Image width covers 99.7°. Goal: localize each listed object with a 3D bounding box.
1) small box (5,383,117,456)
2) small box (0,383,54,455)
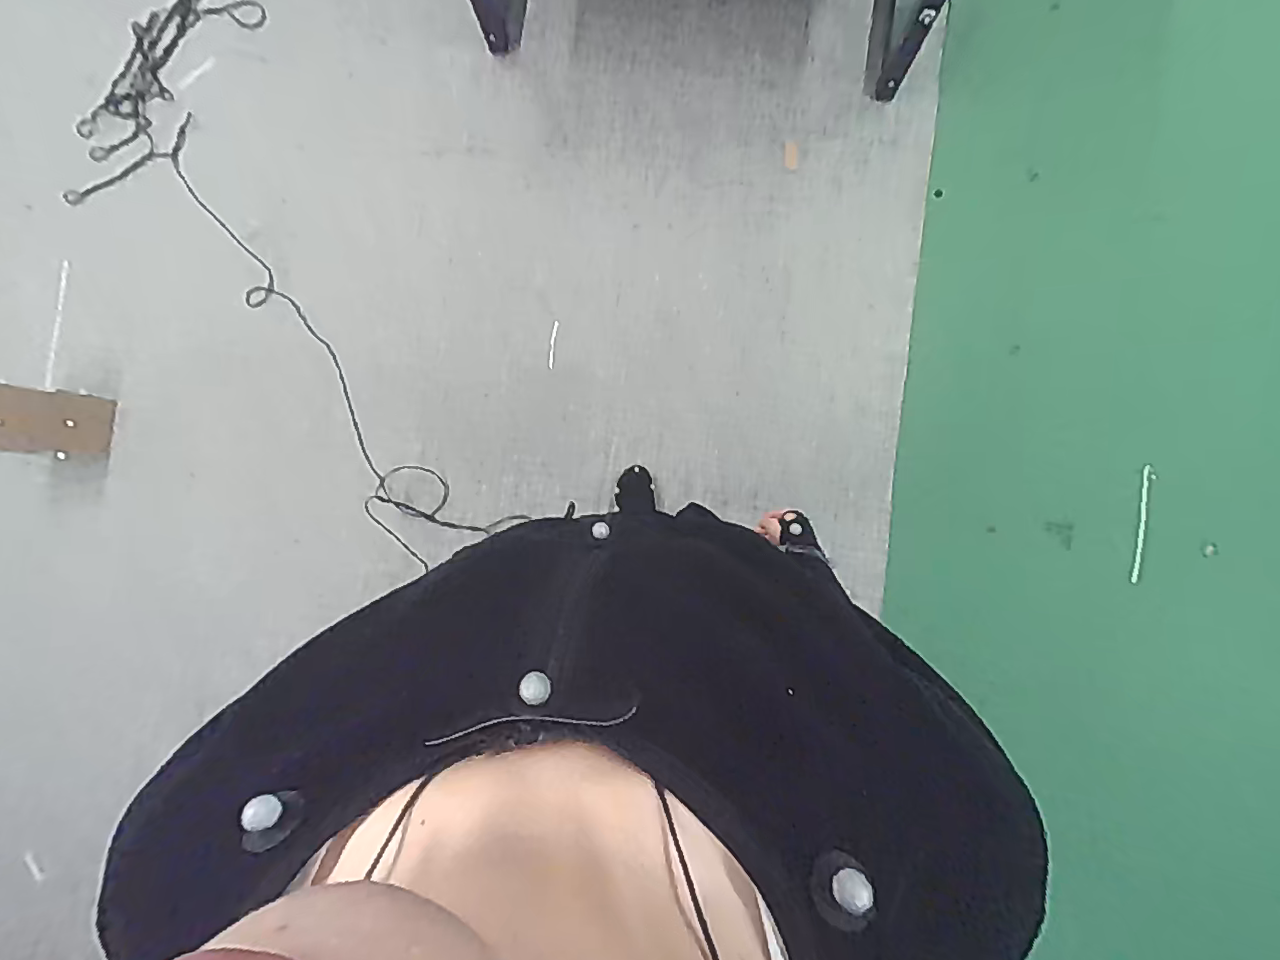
[{"bbox_3d":[-1.655,-0.165,1.542,0.168,0.176,0.179,6,87,3],"label":"small box"},{"bbox_3d":[-1.665,-0.163,1.377,0.168,0.176,0.179,7,87,3],"label":"small box"}]
